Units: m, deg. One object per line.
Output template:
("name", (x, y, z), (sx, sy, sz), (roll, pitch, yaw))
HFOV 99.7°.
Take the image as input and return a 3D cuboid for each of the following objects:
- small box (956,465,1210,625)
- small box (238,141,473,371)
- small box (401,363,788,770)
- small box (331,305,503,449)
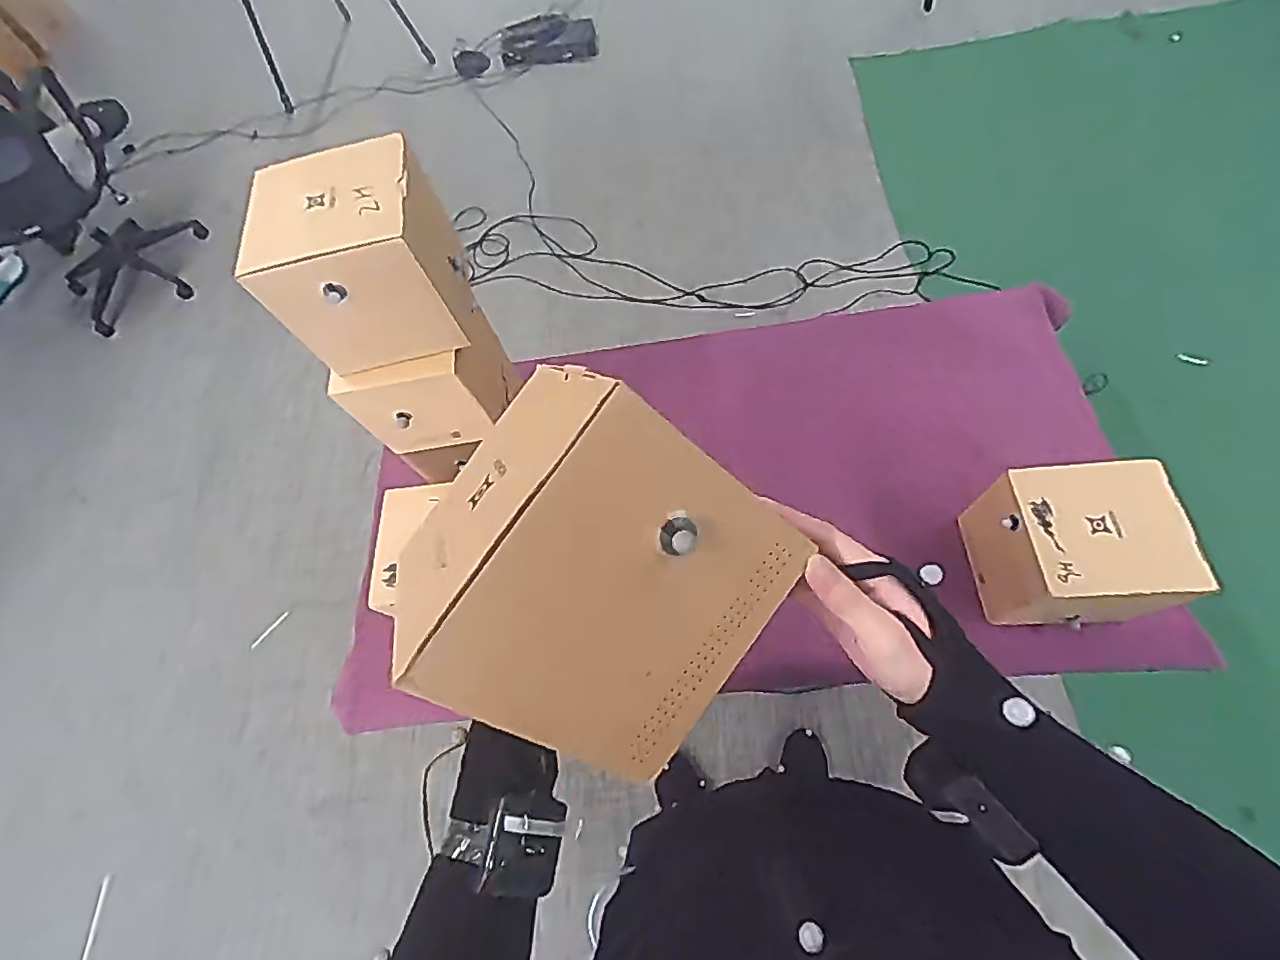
("small box", (0.558, 0.093, 0.714), (0.179, 0.176, 0.168), (-3, 63, 7))
("small box", (-0.314, -0.250, 0.634), (0.179, 0.176, 0.168), (-12, 65, 2))
("small box", (-0.031, 0.047, 0.357), (0.179, 0.176, 0.168), (-54, 27, -2))
("small box", (-0.302, -0.157, 0.771), (0.168, 0.176, 0.179), (-9, 64, 4))
